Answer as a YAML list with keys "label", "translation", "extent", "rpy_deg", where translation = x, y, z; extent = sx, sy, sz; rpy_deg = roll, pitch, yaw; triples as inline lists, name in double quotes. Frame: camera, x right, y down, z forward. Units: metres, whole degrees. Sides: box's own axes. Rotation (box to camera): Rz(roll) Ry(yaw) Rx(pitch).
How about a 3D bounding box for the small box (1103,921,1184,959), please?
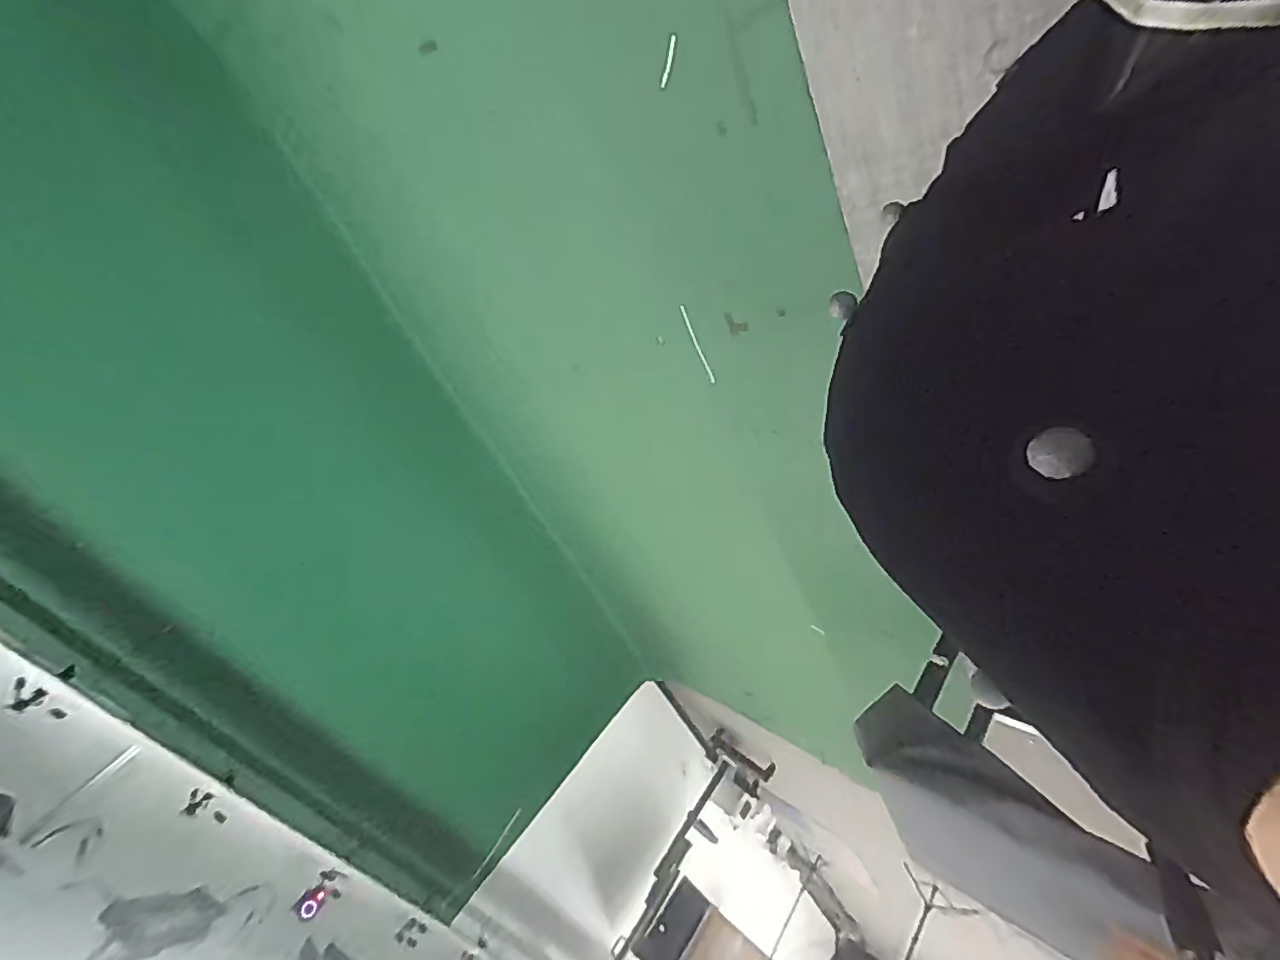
- label: "small box"
  translation: [1.098, 1.104, 1.158]
  extent: [0.168, 0.176, 0.179]
  rpy_deg: [14, 141, 48]
